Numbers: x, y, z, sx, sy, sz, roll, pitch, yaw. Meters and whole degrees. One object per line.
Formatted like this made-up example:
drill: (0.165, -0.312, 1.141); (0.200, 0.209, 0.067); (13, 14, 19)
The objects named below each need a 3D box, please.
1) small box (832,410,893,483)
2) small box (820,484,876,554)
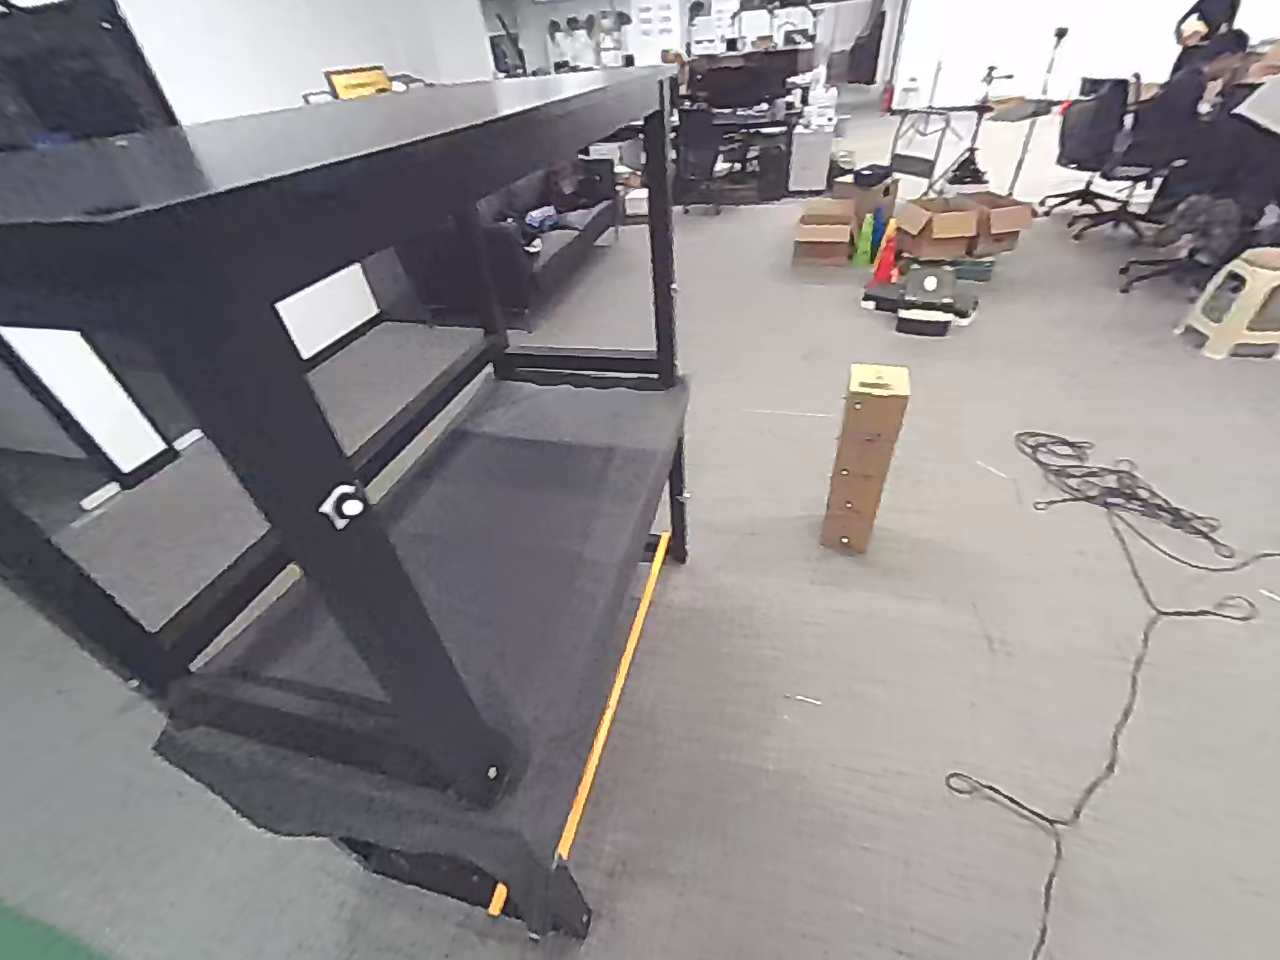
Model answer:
small box: (0.738, -0.110, 1.797); (0.168, 0.176, 0.179); (9, 41, 17)
small box: (0.767, 0.143, 2.002); (0.168, 0.176, 0.179); (10, 43, 20)
